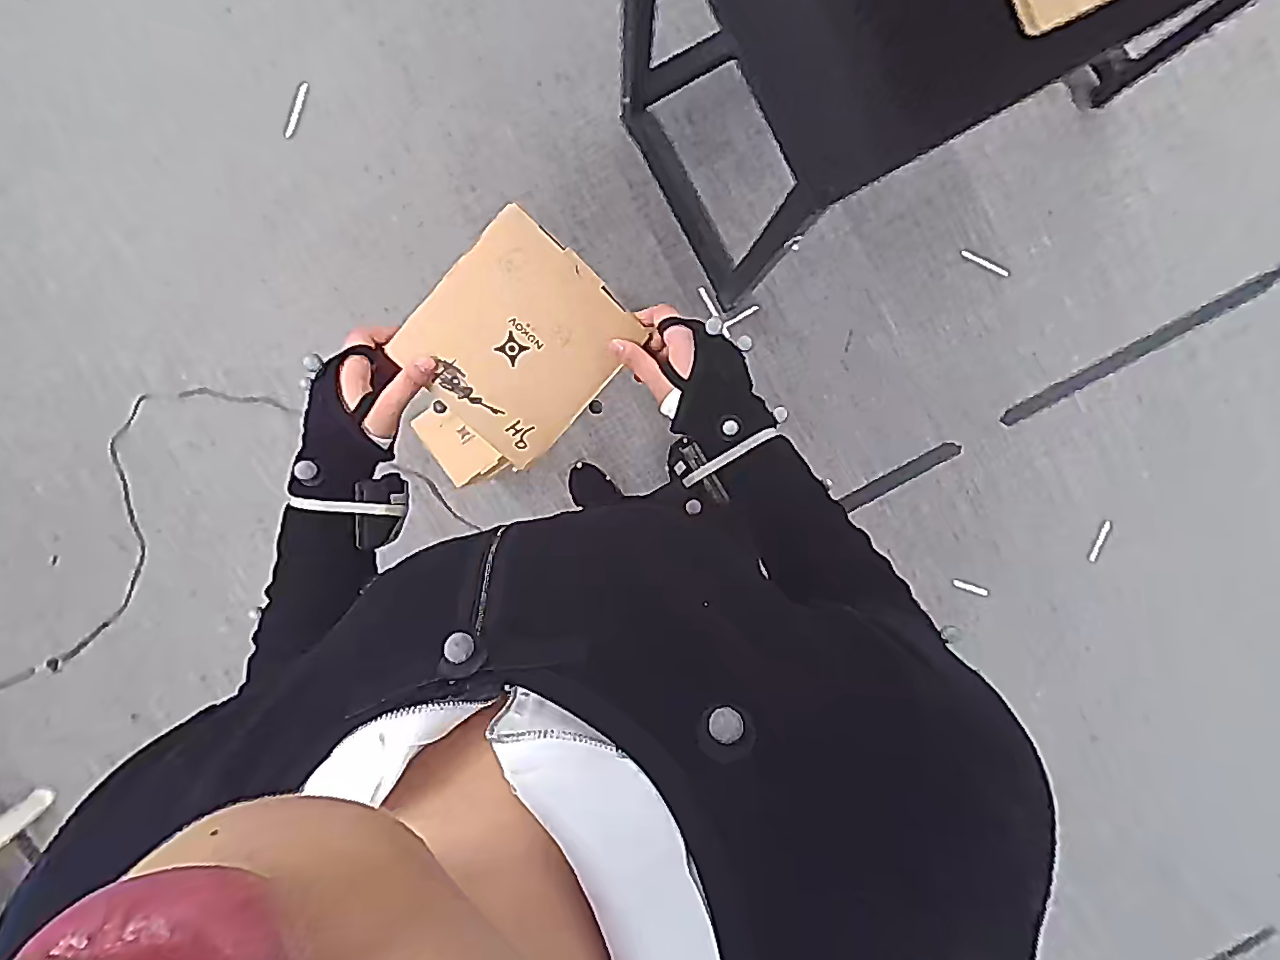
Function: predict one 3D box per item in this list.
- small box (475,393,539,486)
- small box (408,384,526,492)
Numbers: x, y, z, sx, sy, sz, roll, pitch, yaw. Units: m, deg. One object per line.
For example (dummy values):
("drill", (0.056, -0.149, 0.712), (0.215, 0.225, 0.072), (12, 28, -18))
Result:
("small box", (-0.381, -0.102, 1.391), (0.168, 0.176, 0.179), (-33, 95, 1))
("small box", (-0.380, -0.095, 1.229), (0.168, 0.176, 0.179), (-36, 93, 0))
